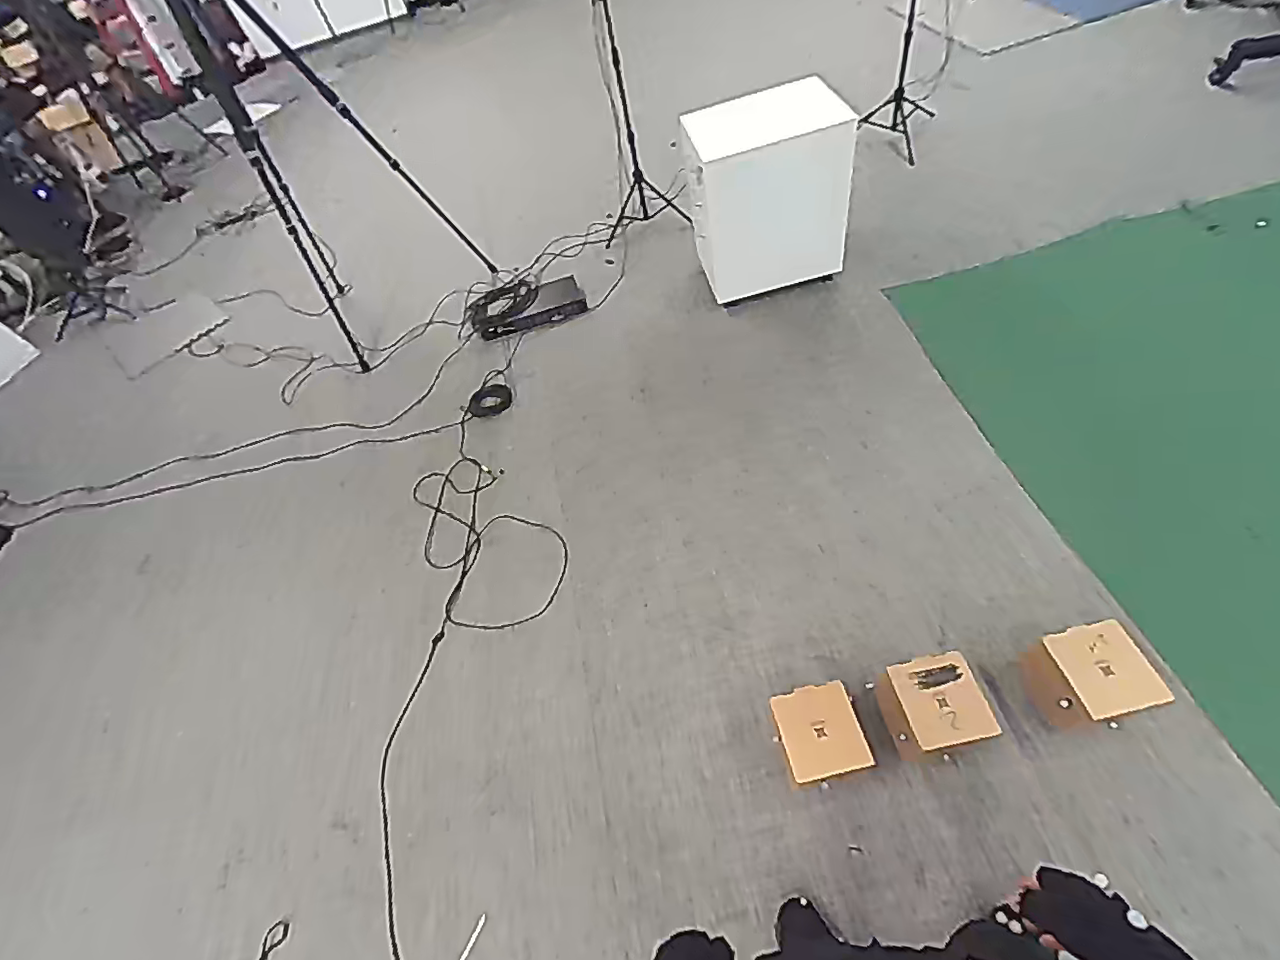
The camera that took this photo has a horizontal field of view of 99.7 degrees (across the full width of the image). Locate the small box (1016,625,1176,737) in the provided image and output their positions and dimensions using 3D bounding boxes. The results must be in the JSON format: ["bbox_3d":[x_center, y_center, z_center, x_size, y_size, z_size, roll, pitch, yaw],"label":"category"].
[{"bbox_3d":[0.967,0.441,1.167,0.168,0.176,0.179,-15,53,2],"label":"small box"}]

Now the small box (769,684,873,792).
[{"bbox_3d":[0.395,0.580,1.203,0.168,0.176,0.179,-16,52,3],"label":"small box"}]
